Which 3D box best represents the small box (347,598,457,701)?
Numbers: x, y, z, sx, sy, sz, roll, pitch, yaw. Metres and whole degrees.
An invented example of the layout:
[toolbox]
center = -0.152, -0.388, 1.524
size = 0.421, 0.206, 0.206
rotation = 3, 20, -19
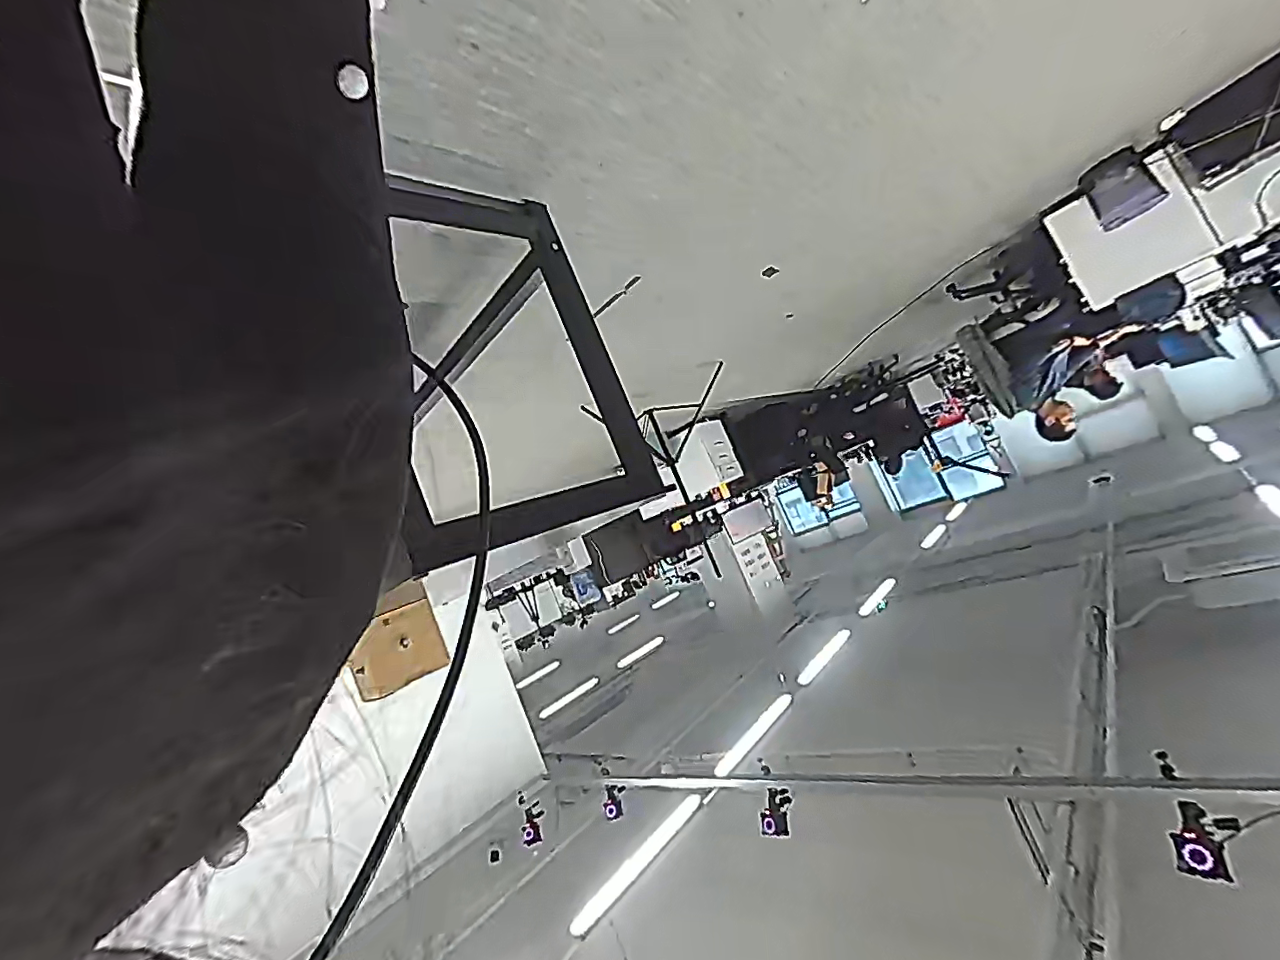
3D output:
[small box]
center = -0.561, 0.392, 1.264
size = 0.168, 0.176, 0.179
rotation = -18, 171, -43
